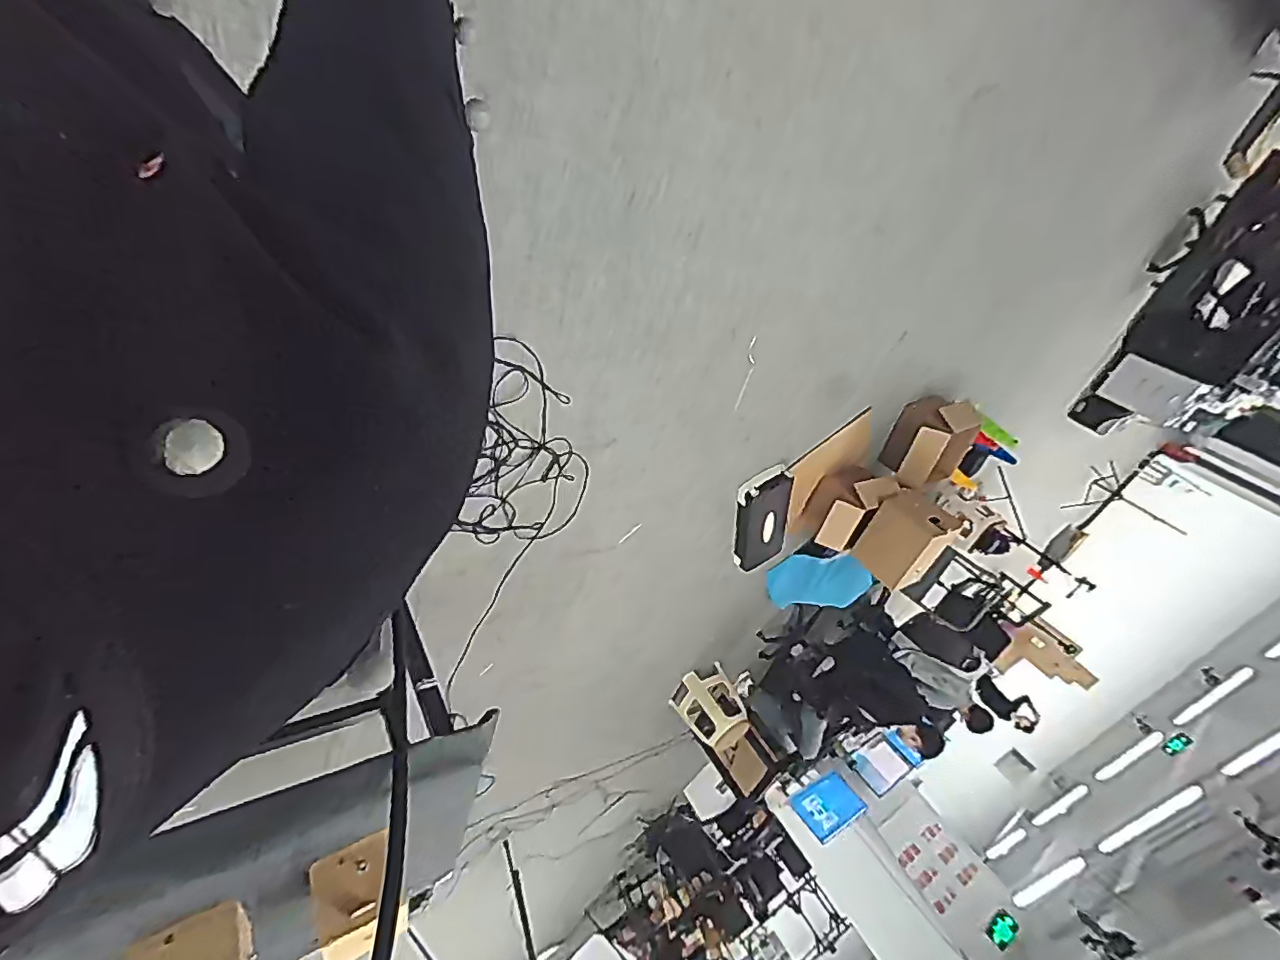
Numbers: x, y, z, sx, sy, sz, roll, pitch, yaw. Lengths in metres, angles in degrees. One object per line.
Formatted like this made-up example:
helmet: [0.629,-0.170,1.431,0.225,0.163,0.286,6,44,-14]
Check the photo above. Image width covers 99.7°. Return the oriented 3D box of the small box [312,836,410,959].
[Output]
small box: [-0.621,0.941,1.205,0.168,0.176,0.179,-11,132,-33]
